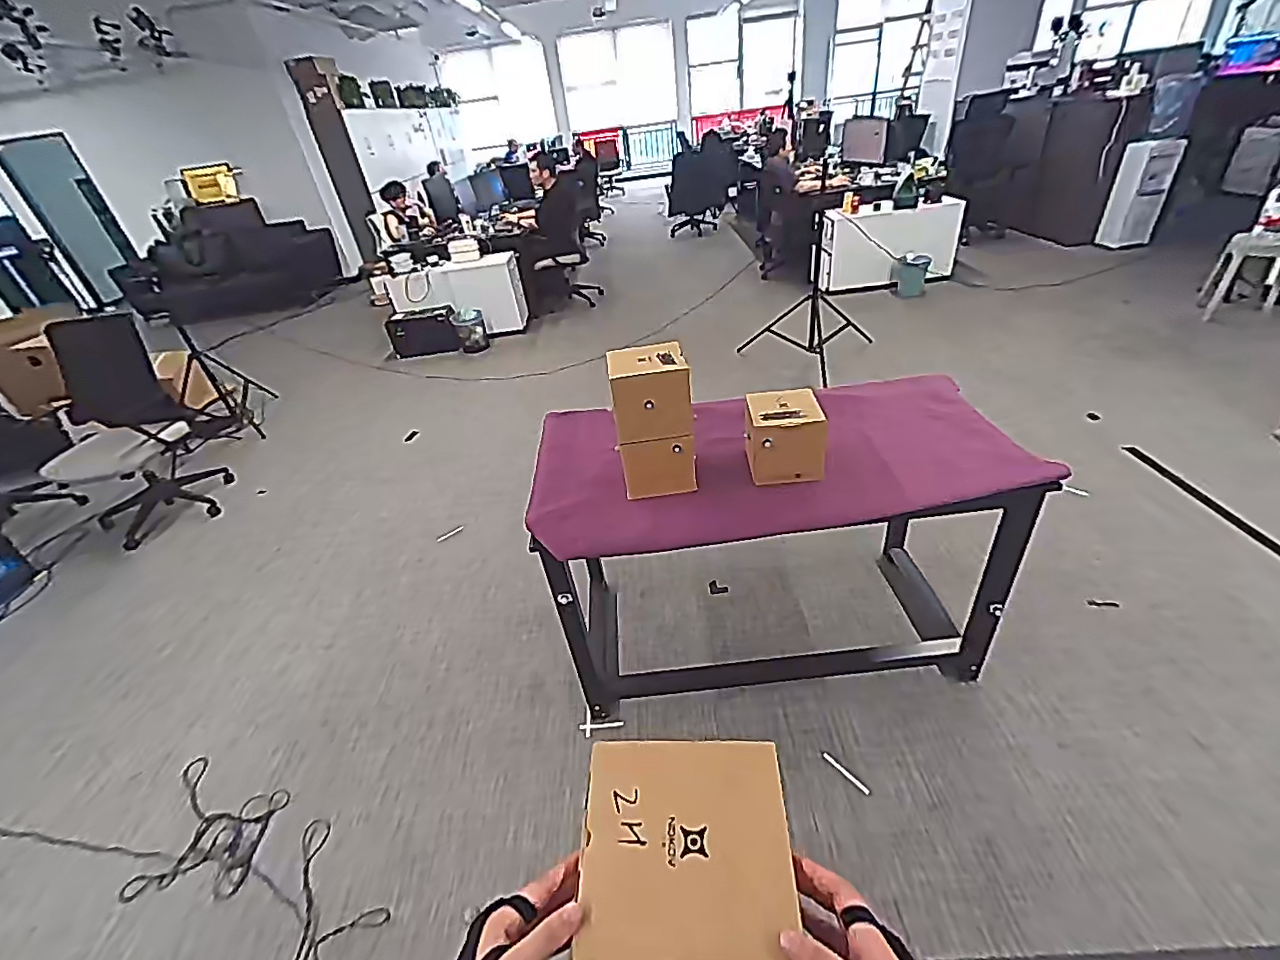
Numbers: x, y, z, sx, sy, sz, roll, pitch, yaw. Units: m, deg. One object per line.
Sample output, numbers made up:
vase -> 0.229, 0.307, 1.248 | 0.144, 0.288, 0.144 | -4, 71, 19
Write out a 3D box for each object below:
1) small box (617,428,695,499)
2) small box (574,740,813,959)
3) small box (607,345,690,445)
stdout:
small box -> 0.038, -0.068, 1.369 | 0.179, 0.176, 0.168 | -8, 34, -1
small box -> 0.049, 0.362, 0.501 | 0.179, 0.176, 0.168 | -3, 39, 6
small box -> 0.021, -0.200, 1.273 | 0.179, 0.176, 0.168 | -9, 34, 0
